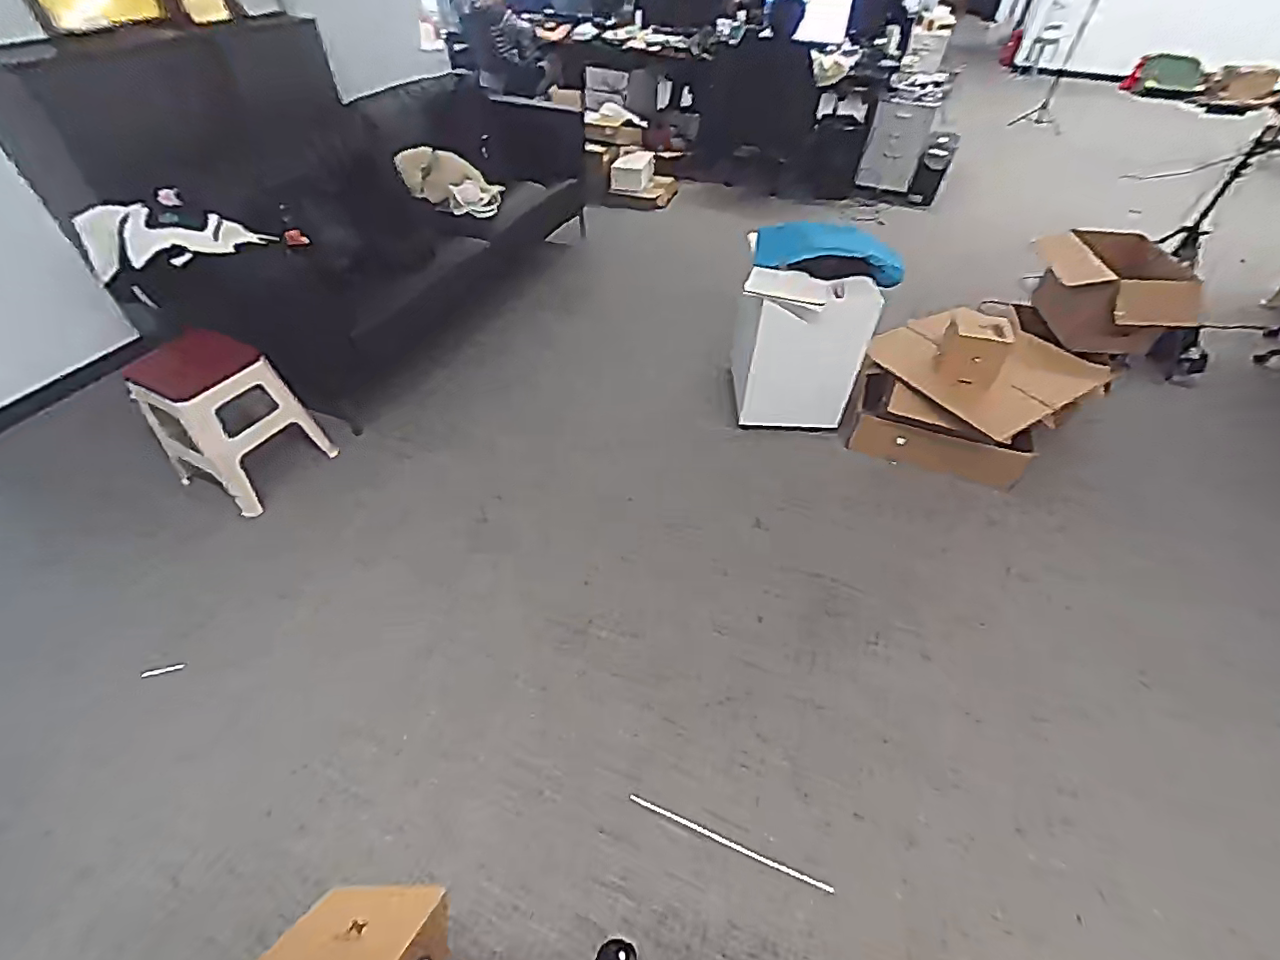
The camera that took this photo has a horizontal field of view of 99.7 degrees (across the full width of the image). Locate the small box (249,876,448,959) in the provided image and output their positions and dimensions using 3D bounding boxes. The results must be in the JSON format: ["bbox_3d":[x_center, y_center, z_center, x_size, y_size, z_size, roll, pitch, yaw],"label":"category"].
[{"bbox_3d":[-0.351,0.627,0.660,0.168,0.179,0.176,-2,84,4],"label":"small box"}]
